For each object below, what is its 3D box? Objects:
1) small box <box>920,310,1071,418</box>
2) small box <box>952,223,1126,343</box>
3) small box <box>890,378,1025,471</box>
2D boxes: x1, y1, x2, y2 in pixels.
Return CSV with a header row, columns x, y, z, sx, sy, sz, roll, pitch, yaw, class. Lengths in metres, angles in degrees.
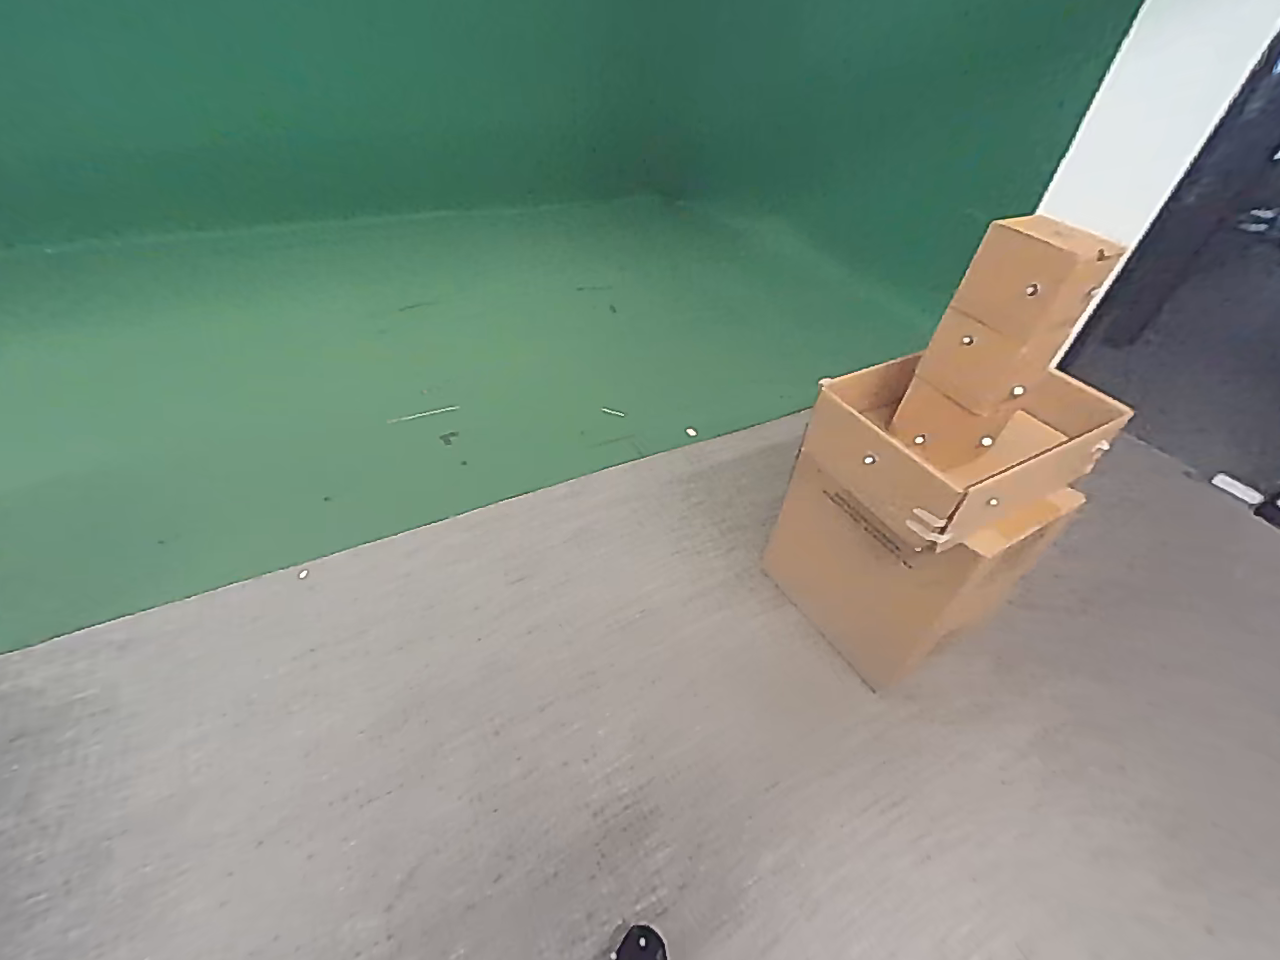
x,y,z,sx,sy,sz,roll,pitch,yaw,class
0.743,-0.257,1.153,0.168,0.176,0.179,-16,48,-23,small box
0.757,-0.375,1.043,0.168,0.176,0.179,-18,47,-26,small box
0.732,-0.139,1.266,0.168,0.176,0.179,-17,48,-25,small box
